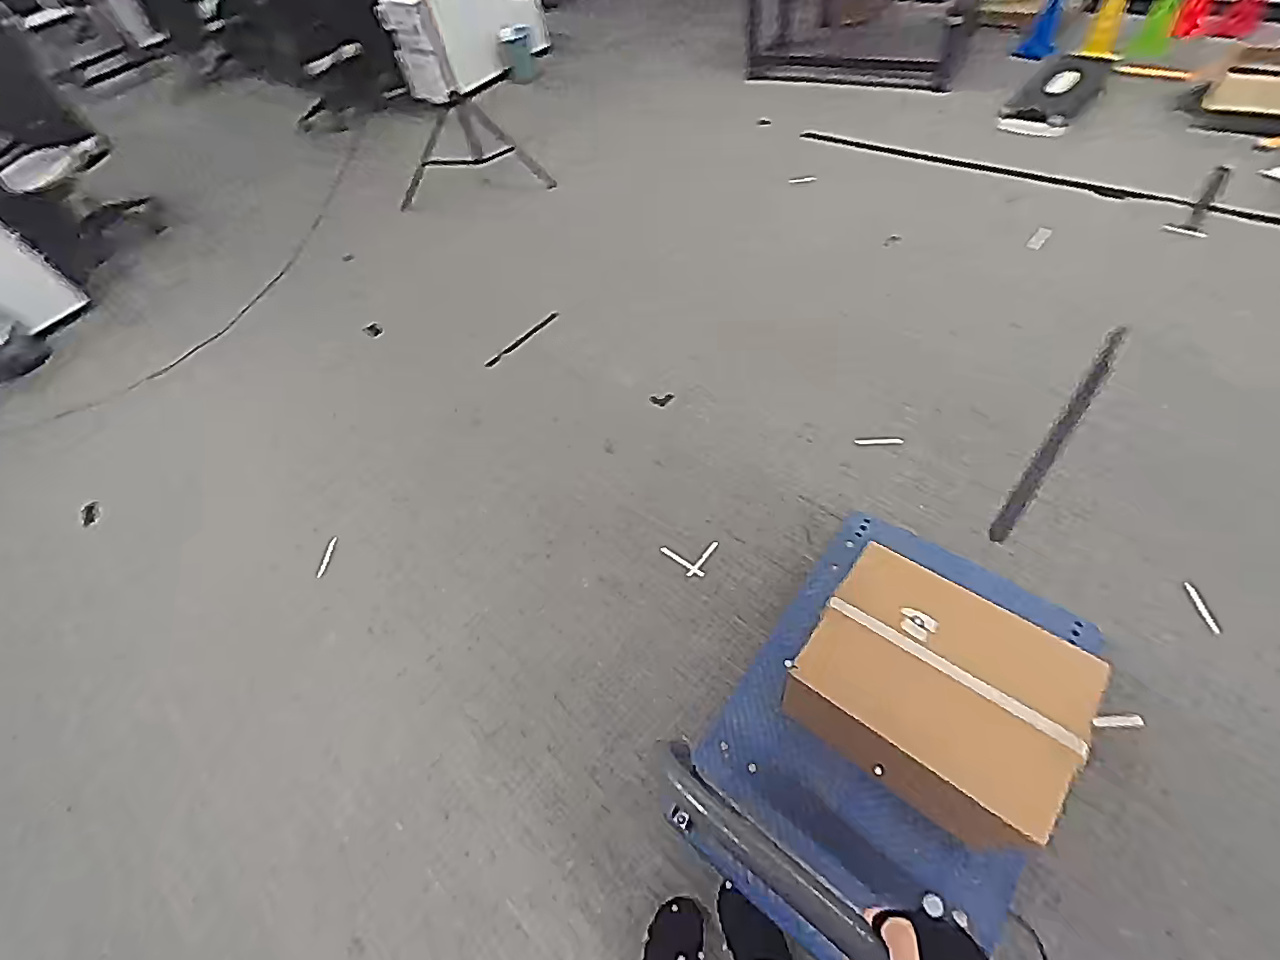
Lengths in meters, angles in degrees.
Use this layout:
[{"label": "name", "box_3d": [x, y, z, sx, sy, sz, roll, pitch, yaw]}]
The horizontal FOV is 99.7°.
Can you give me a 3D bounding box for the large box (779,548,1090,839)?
[{"label": "large box", "box_3d": [0.523, 0.406, 1.039, 0.408, 0.320, 0.320, 29, 64, 28]}]
